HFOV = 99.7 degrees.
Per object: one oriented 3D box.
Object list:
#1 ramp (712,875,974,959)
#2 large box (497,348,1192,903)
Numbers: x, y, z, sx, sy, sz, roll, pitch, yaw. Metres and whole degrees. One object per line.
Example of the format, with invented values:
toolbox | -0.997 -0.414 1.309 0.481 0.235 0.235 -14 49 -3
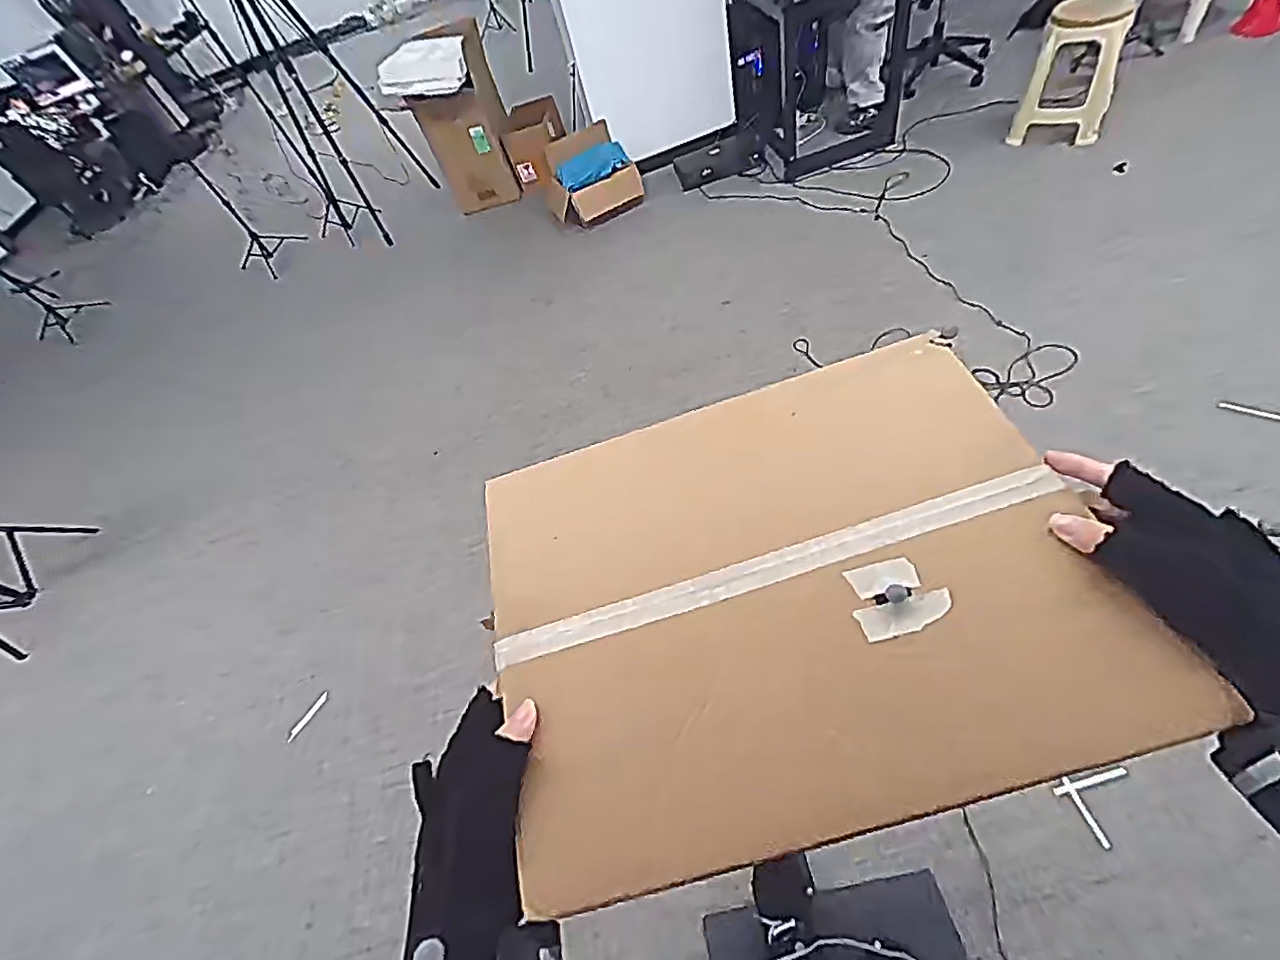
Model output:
ramp | 0.438 1.207 0.768 0.509 0.206 0.991 -18 50 5
large box | 0.124 0.146 0.519 0.408 0.320 0.320 -19 57 3
